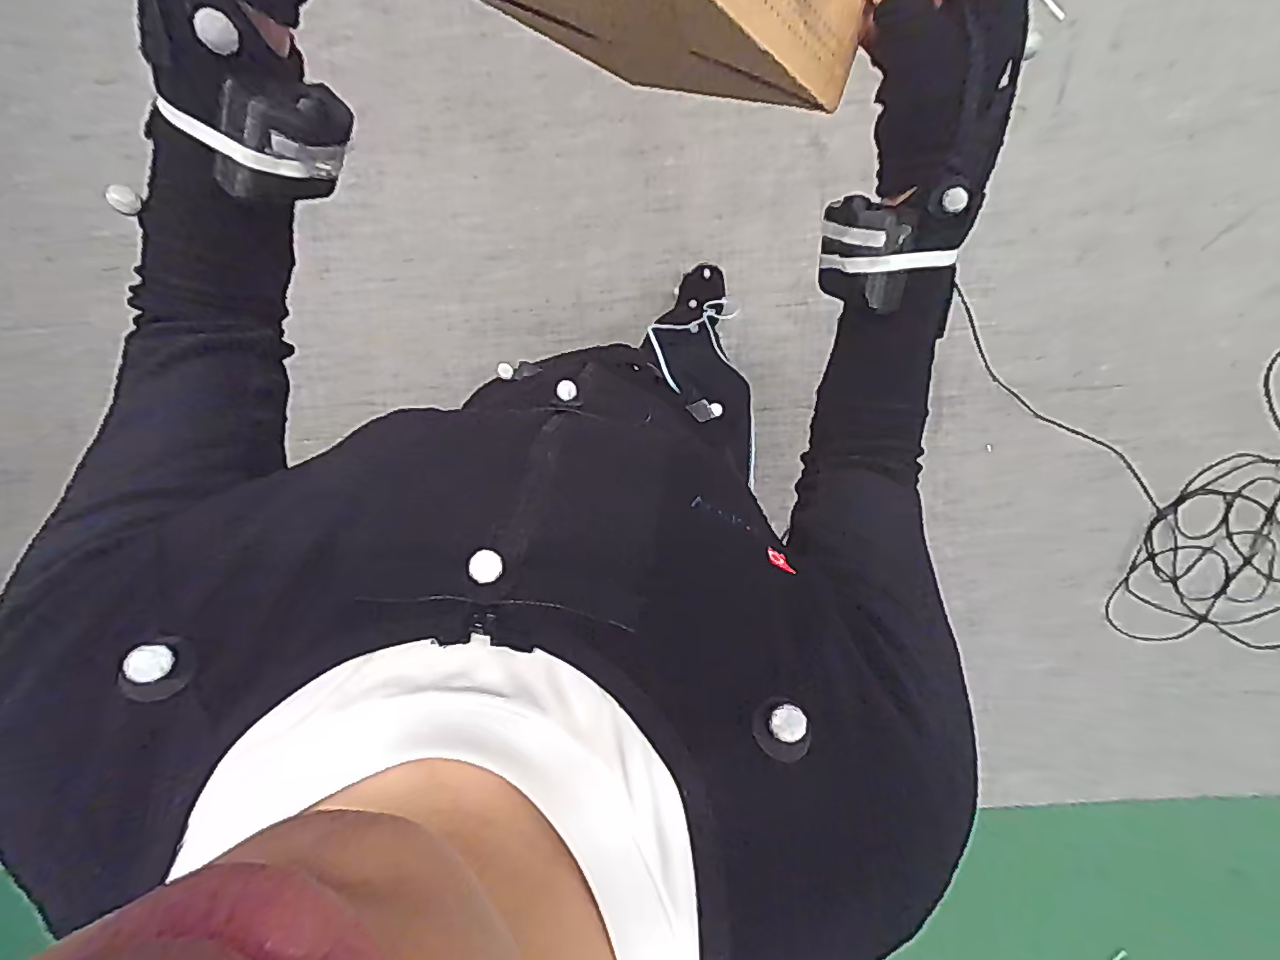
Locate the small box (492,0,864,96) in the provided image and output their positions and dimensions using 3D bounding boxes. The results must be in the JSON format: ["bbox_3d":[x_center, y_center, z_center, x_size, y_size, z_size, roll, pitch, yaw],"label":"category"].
[{"bbox_3d":[0.023,-0.310,0.263,0.168,0.179,0.176,31,119,30],"label":"small box"}]
